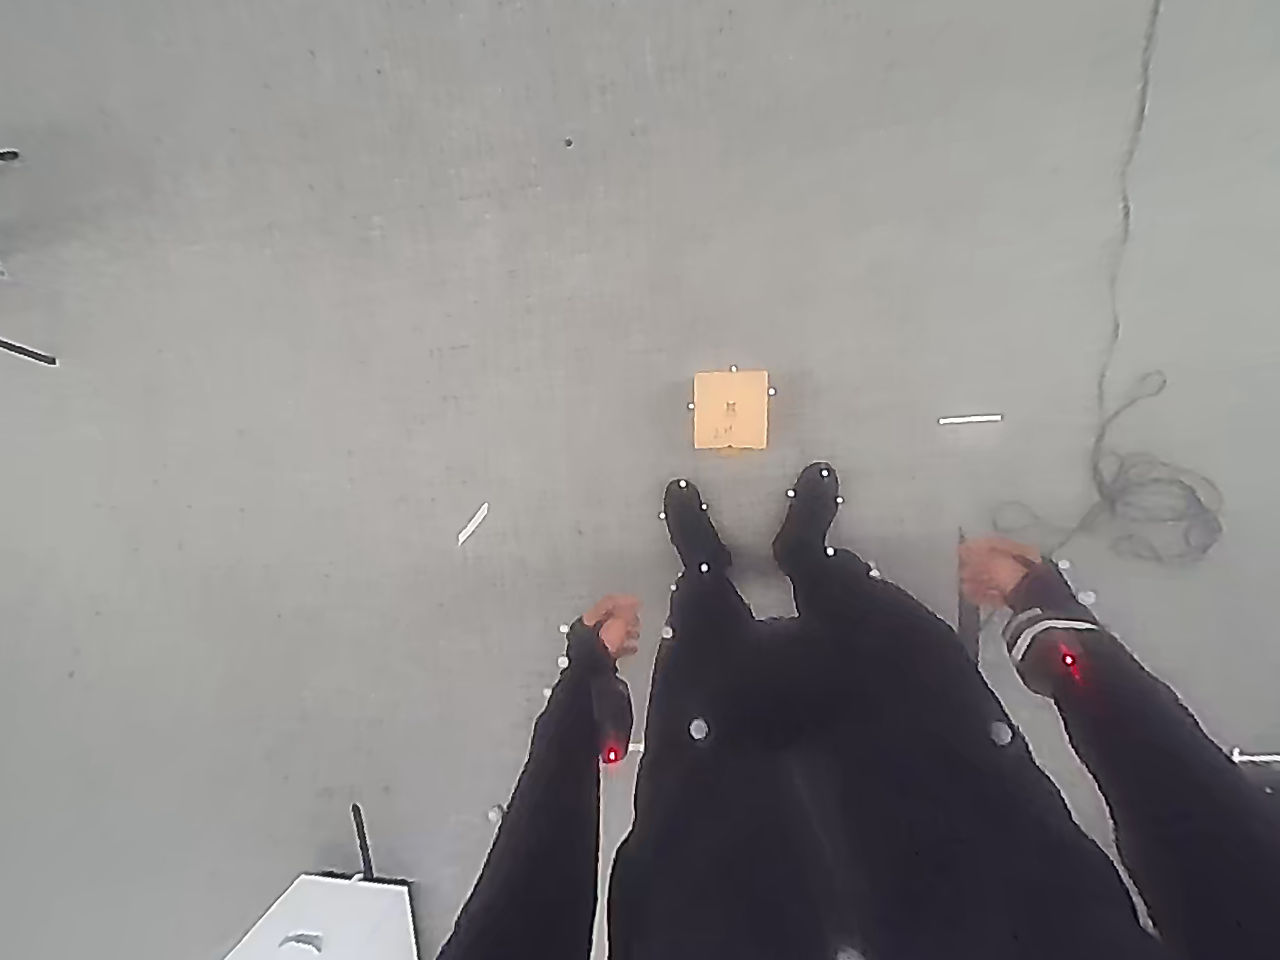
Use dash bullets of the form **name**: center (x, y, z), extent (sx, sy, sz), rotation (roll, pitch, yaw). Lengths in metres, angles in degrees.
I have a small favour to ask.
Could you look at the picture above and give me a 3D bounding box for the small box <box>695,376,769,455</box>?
- **small box**: center (0.220, -0.155, 1.299), extent (0.168, 0.176, 0.179), rotation (1, 99, 11)
